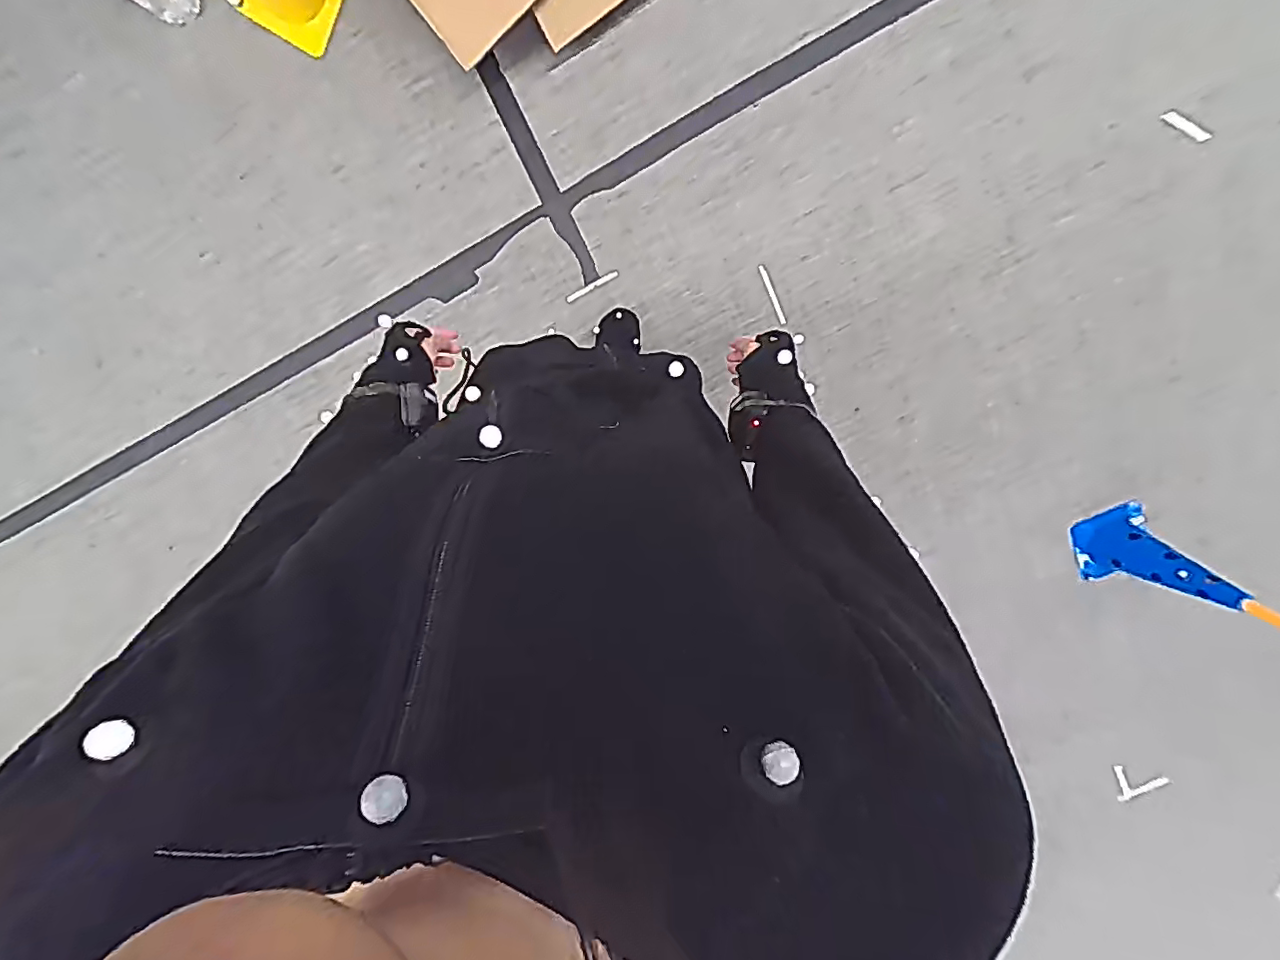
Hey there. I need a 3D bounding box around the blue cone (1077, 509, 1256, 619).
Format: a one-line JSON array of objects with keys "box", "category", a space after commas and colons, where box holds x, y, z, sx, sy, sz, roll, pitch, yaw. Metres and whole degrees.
[{"box": [1.353, 0.234, 1.384, 0.193, 0.380, 0.192, -23, 106, 5], "category": "blue cone"}]
